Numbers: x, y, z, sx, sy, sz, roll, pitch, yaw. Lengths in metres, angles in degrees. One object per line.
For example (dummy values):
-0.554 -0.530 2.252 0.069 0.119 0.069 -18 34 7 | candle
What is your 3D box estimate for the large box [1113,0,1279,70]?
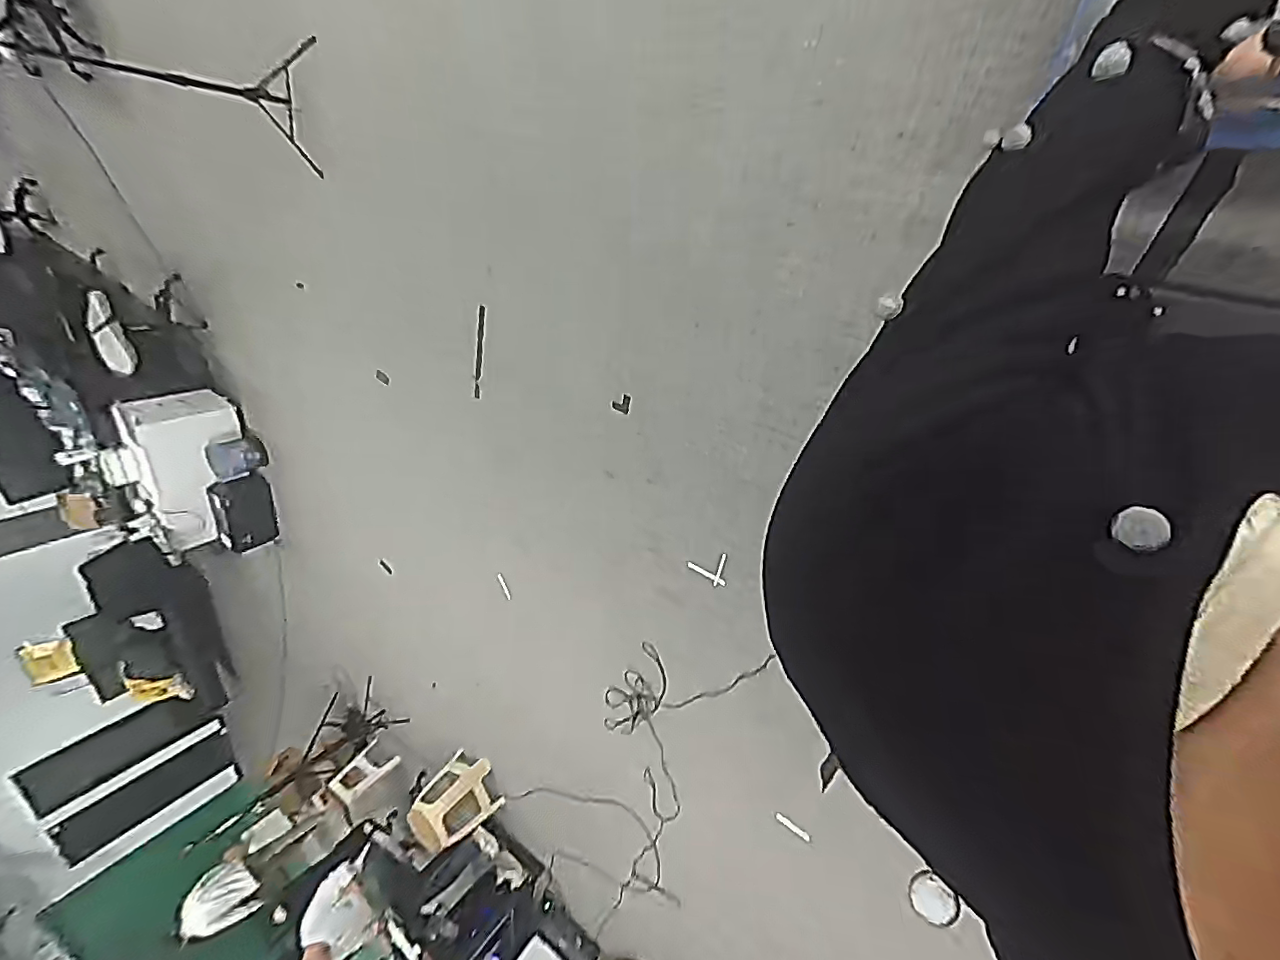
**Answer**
0.822 -0.706 0.583 0.408 0.320 0.320 12 117 31 | large box
